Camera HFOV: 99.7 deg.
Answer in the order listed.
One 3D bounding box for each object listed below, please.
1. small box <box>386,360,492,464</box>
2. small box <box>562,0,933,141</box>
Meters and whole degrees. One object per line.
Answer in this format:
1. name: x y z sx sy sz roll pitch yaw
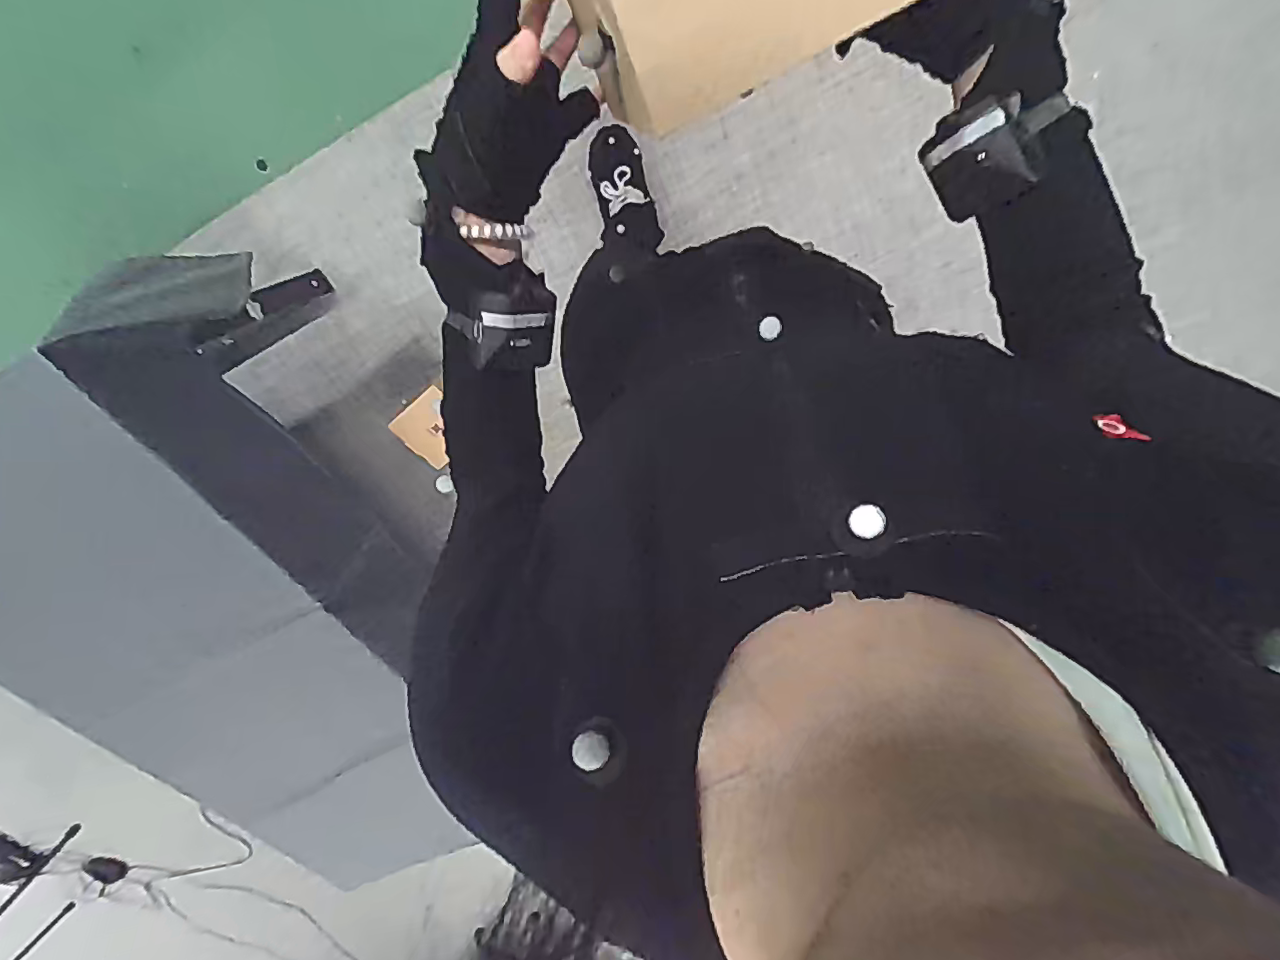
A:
1. small box: -0.511 -0.180 1.403 0.179 0.176 0.168 -35 117 18
2. small box: 0.032 -0.312 0.276 0.168 0.176 0.179 -24 128 6
